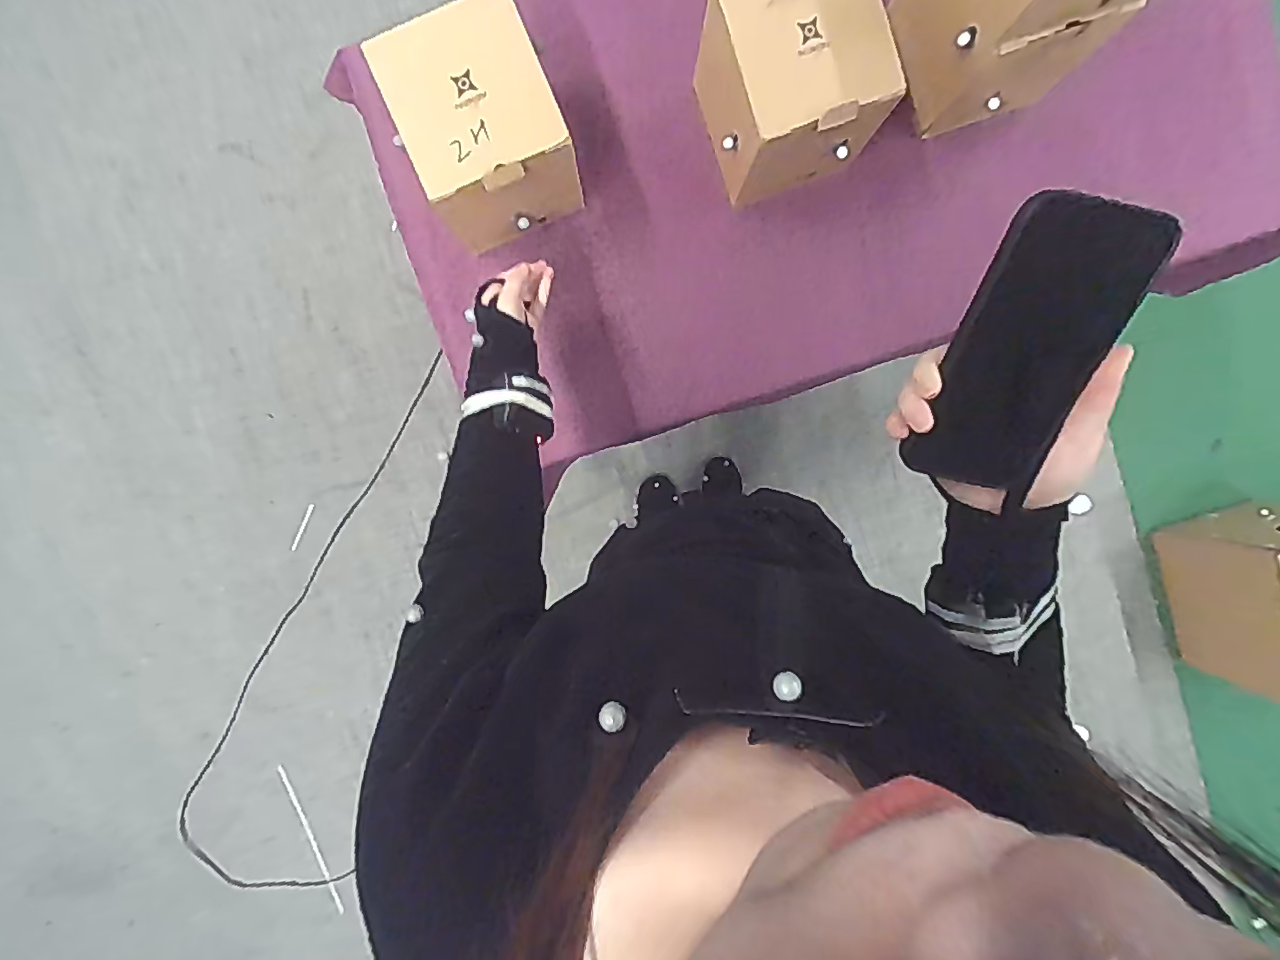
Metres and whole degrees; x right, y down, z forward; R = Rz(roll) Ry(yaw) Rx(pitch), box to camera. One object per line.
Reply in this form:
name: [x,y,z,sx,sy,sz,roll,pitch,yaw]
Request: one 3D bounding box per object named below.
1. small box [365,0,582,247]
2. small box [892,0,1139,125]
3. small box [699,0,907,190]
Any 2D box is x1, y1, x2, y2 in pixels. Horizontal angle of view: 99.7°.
small box: [-0.180,-0.413,0.643,0.168,0.176,0.179,-23,95,2]
small box: [0.427,-0.570,0.634,0.168,0.176,0.179,-19,95,1]
small box: [0.179,-0.476,0.642,0.168,0.176,0.179,-19,94,1]
